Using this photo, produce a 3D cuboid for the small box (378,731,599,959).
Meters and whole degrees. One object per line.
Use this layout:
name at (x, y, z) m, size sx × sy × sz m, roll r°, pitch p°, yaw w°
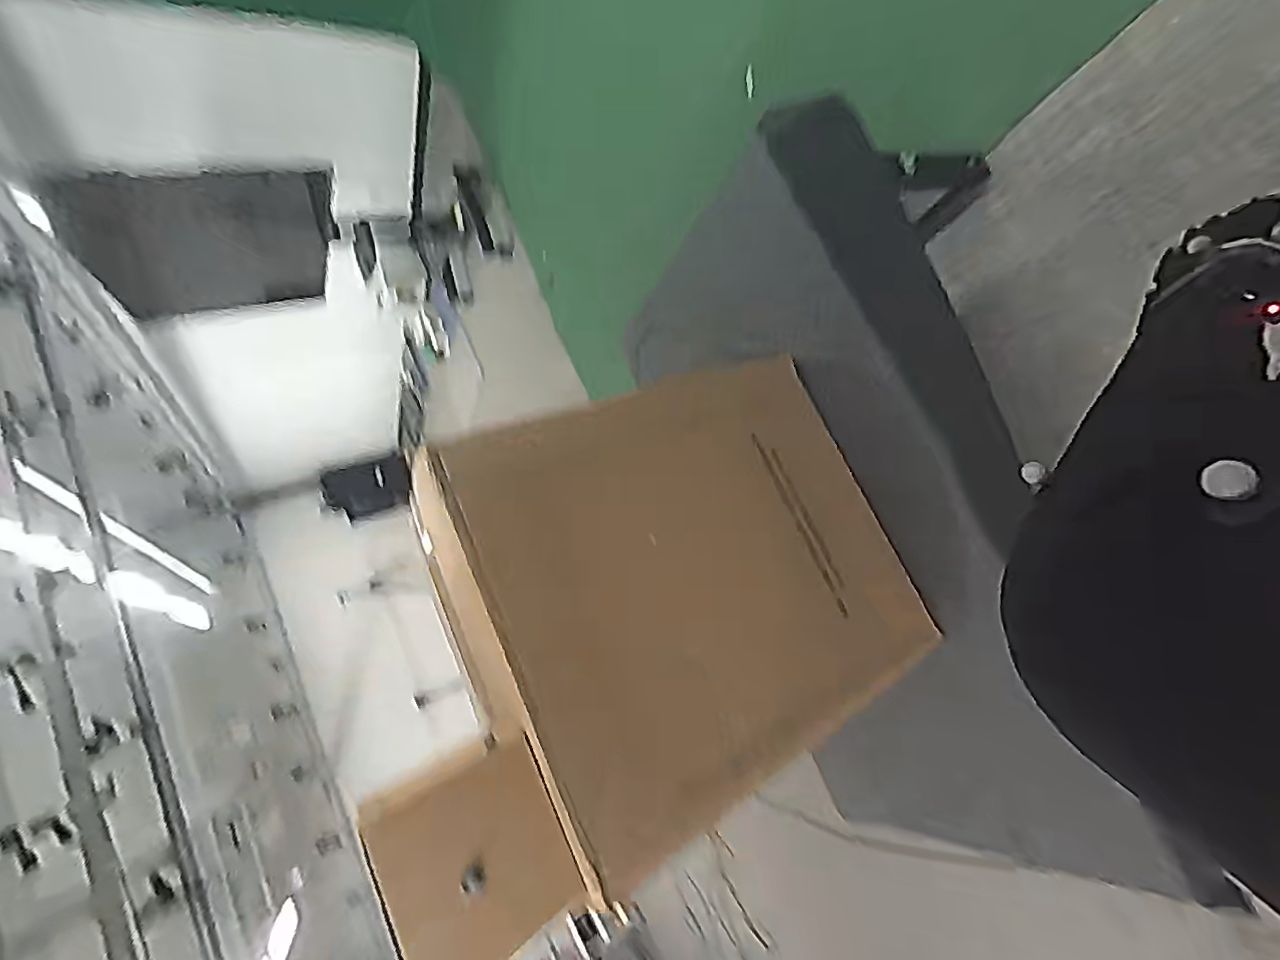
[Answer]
small box at (-0.171, 0.394, 0.595) m, size 0.179 × 0.176 × 0.168 m, roll 64°, pitch 147°, yaw 13°
